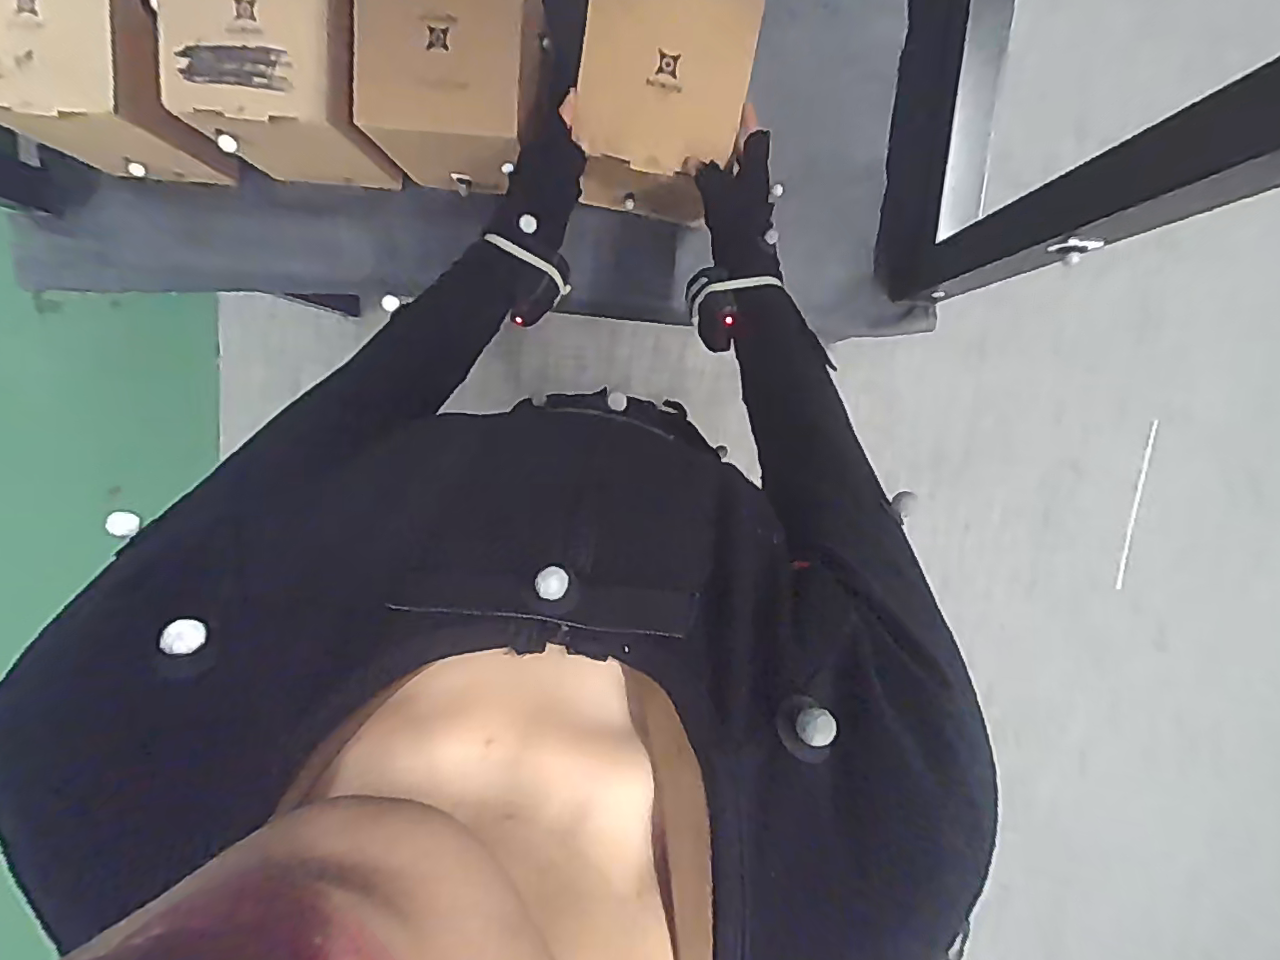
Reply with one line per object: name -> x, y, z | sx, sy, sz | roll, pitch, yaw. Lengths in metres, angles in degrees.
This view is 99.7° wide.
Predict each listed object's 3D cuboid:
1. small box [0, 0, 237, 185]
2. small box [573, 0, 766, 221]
small box -> -0.585, -0.458, 0.597 | 0.168, 0.176, 0.179 | 4, 98, -1
small box -> 0.020, -0.411, 0.596 | 0.168, 0.176, 0.179 | 8, 102, -7
